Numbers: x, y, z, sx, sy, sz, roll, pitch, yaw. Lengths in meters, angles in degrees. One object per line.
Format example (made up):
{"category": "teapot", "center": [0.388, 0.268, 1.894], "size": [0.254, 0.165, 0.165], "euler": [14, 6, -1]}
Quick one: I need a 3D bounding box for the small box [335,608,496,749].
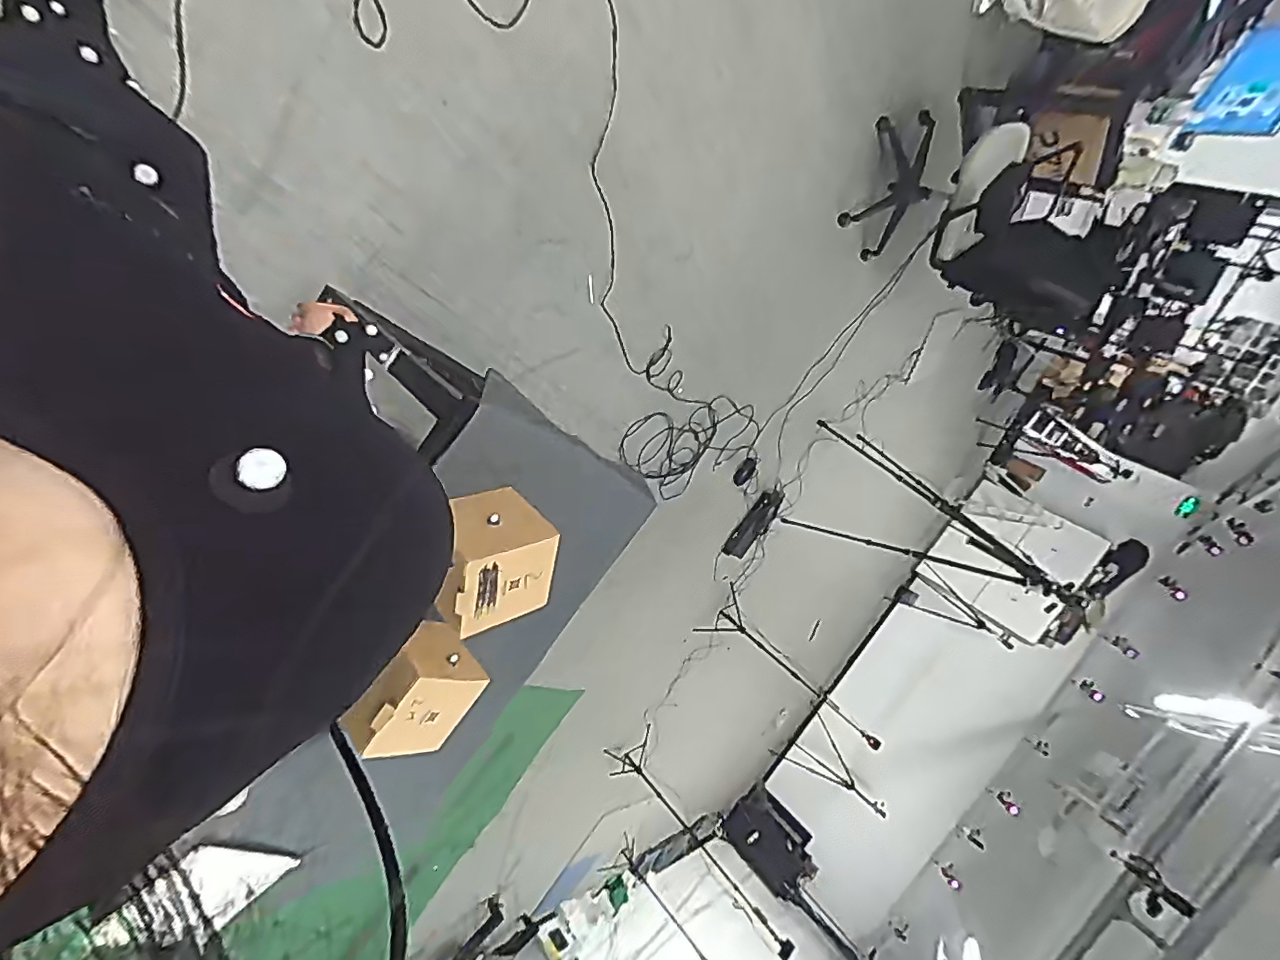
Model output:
{"category": "small box", "center": [-0.406, 0.354, 0.980], "size": [0.168, 0.176, 0.179], "euler": [-53, 145, 0]}
